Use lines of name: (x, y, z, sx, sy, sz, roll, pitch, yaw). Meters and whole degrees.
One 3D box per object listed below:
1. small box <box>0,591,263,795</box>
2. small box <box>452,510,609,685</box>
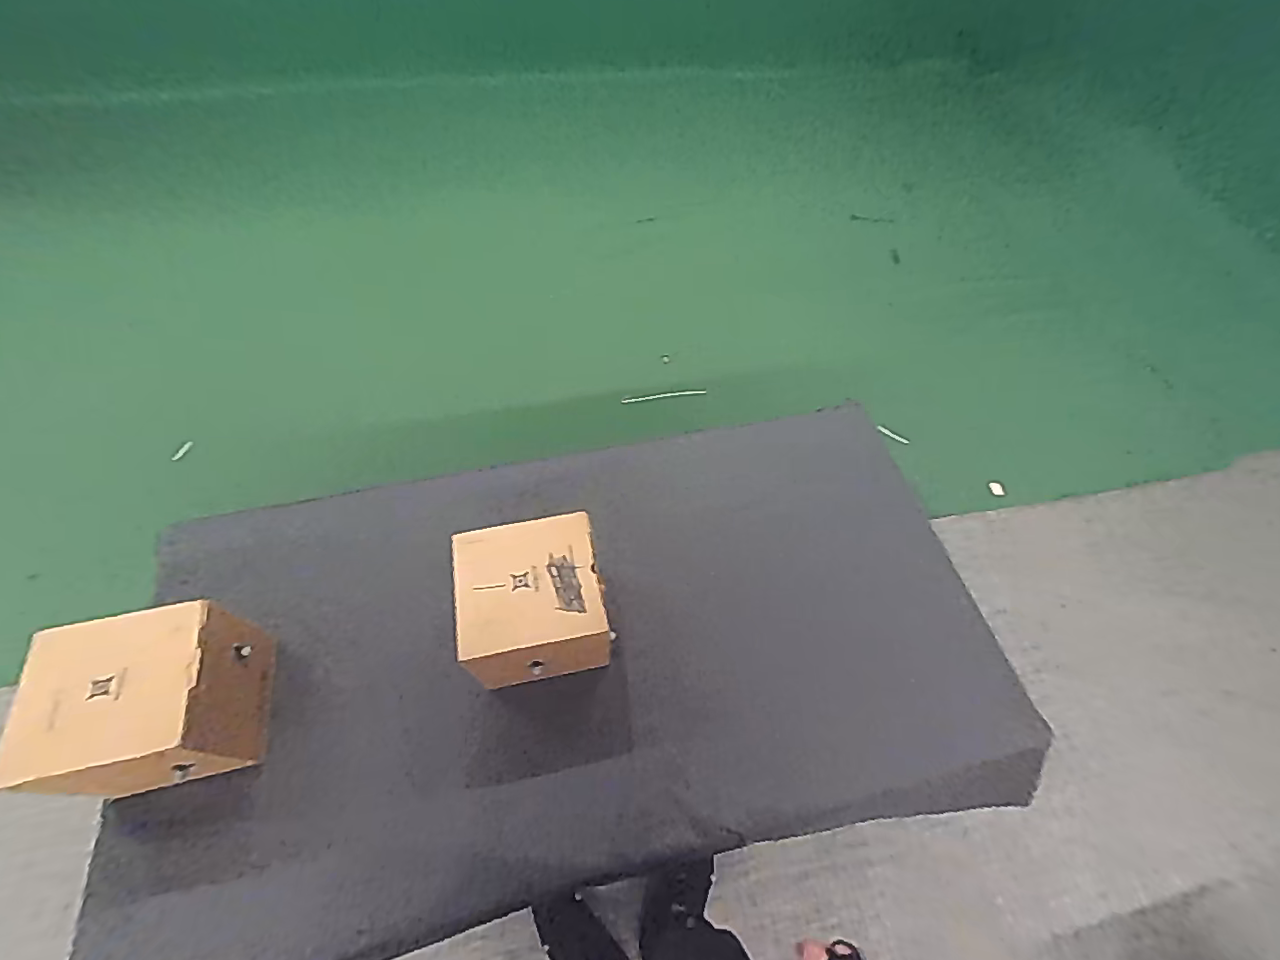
small box: (-0.575, 0.249, 0.625, 0.179, 0.176, 0.168, -10, 58, -10)
small box: (-0.142, 0.159, 0.719, 0.179, 0.176, 0.168, -8, 59, -9)
